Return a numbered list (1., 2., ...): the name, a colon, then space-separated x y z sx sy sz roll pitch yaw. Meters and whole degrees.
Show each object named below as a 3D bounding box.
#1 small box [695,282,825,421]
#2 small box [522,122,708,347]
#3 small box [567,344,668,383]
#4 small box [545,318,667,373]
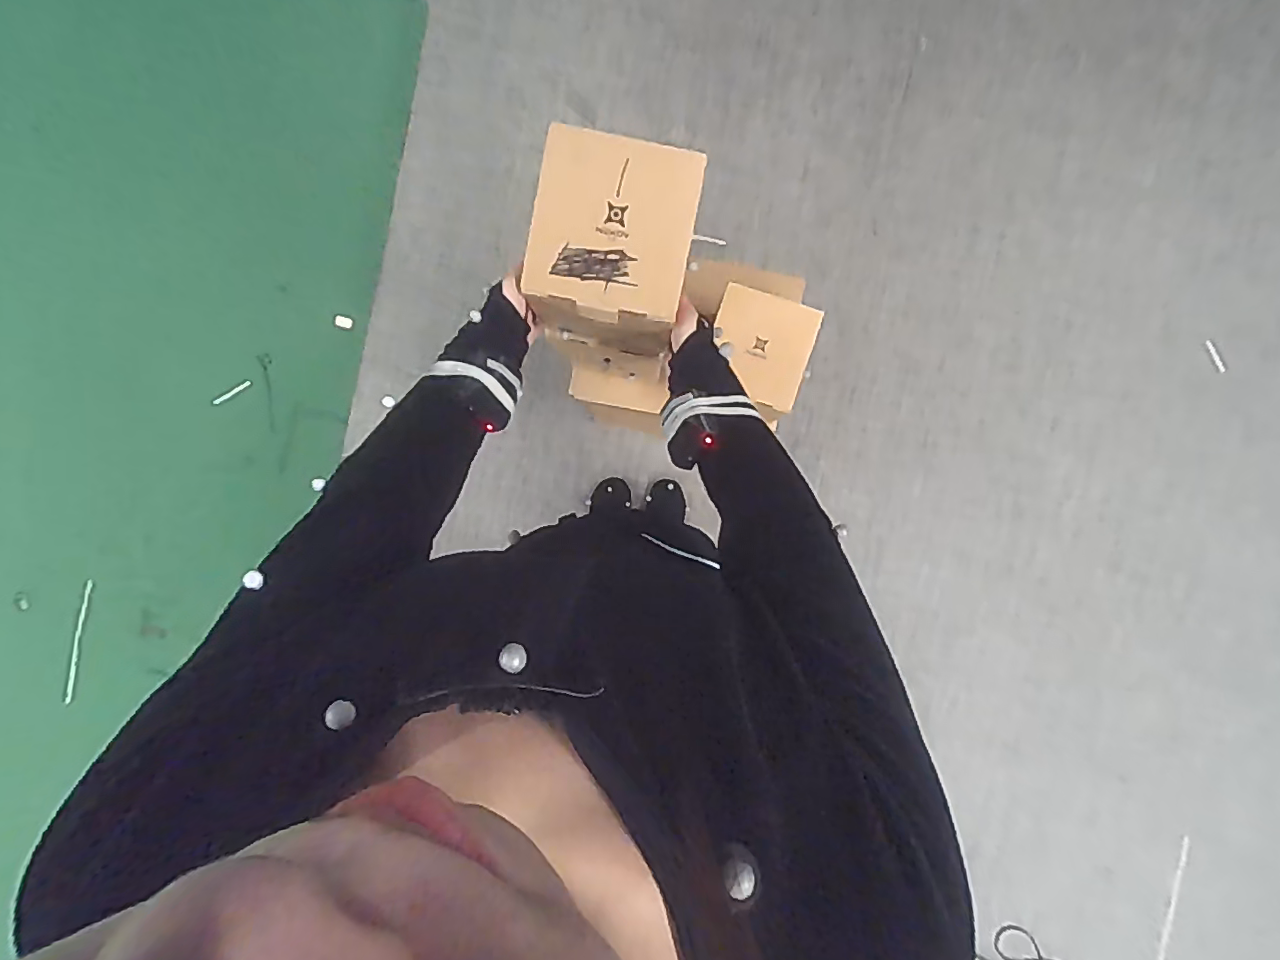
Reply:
1. small box: 0.199 -0.216 0.953 0.168 0.176 0.179 18 92 2
2. small box: -0.026 -0.266 0.630 0.168 0.176 0.179 11 92 -1
3. small box: -0.026 -0.280 0.959 0.168 0.176 0.179 13 92 -1
4. small box: -0.031 -0.264 0.795 0.168 0.176 0.179 11 93 -1
